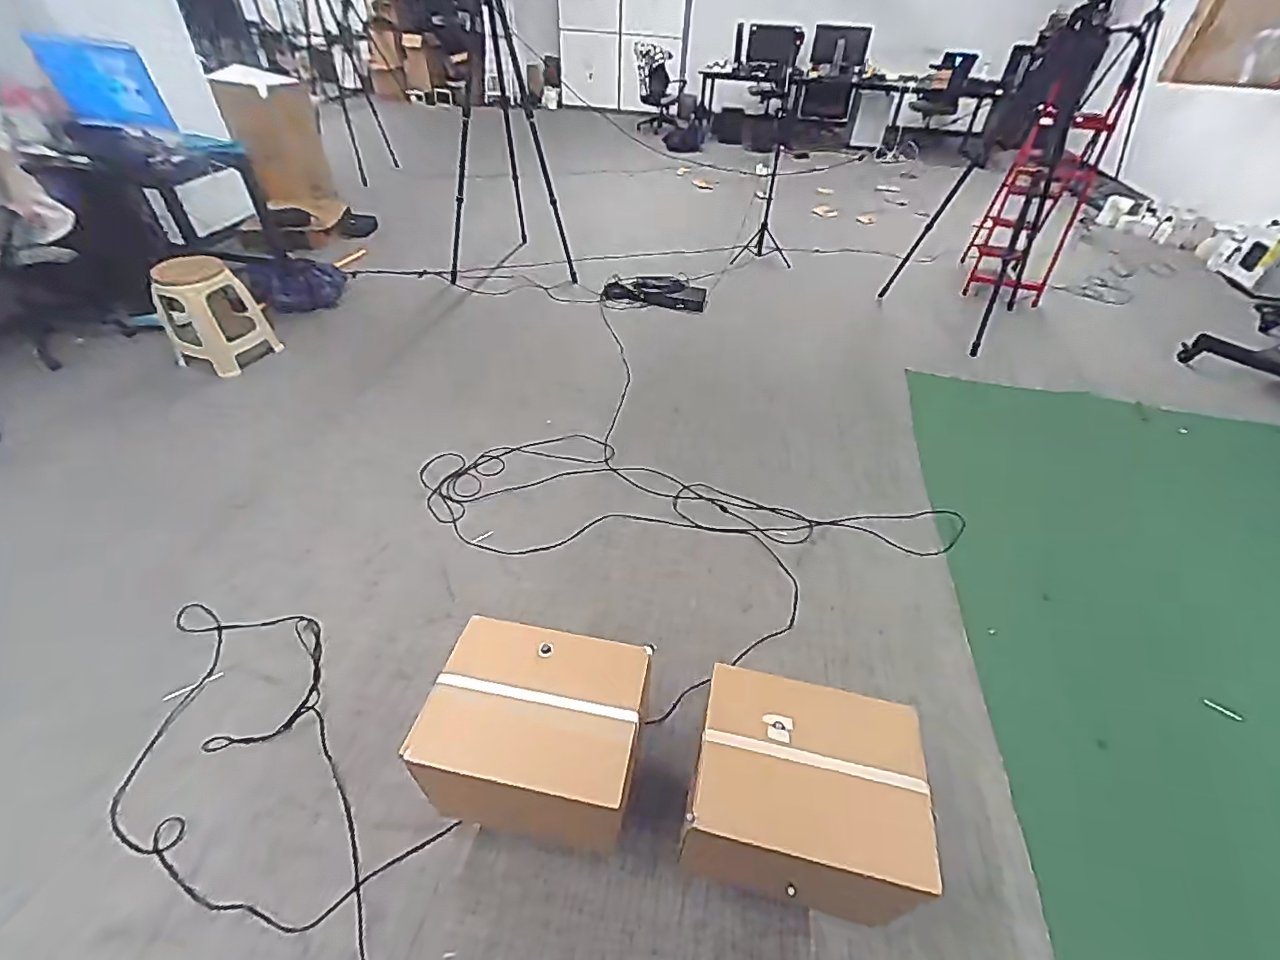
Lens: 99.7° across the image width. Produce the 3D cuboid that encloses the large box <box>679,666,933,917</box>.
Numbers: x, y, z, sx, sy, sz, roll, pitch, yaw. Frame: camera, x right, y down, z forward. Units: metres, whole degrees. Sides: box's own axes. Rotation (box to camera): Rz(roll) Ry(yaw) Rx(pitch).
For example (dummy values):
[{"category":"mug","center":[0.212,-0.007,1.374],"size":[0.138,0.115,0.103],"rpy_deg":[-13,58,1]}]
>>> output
[{"category":"large box","center":[0.311,0.632,1.105],"size":[0.408,0.320,0.320],"rpy_deg":[10,43,9]}]
